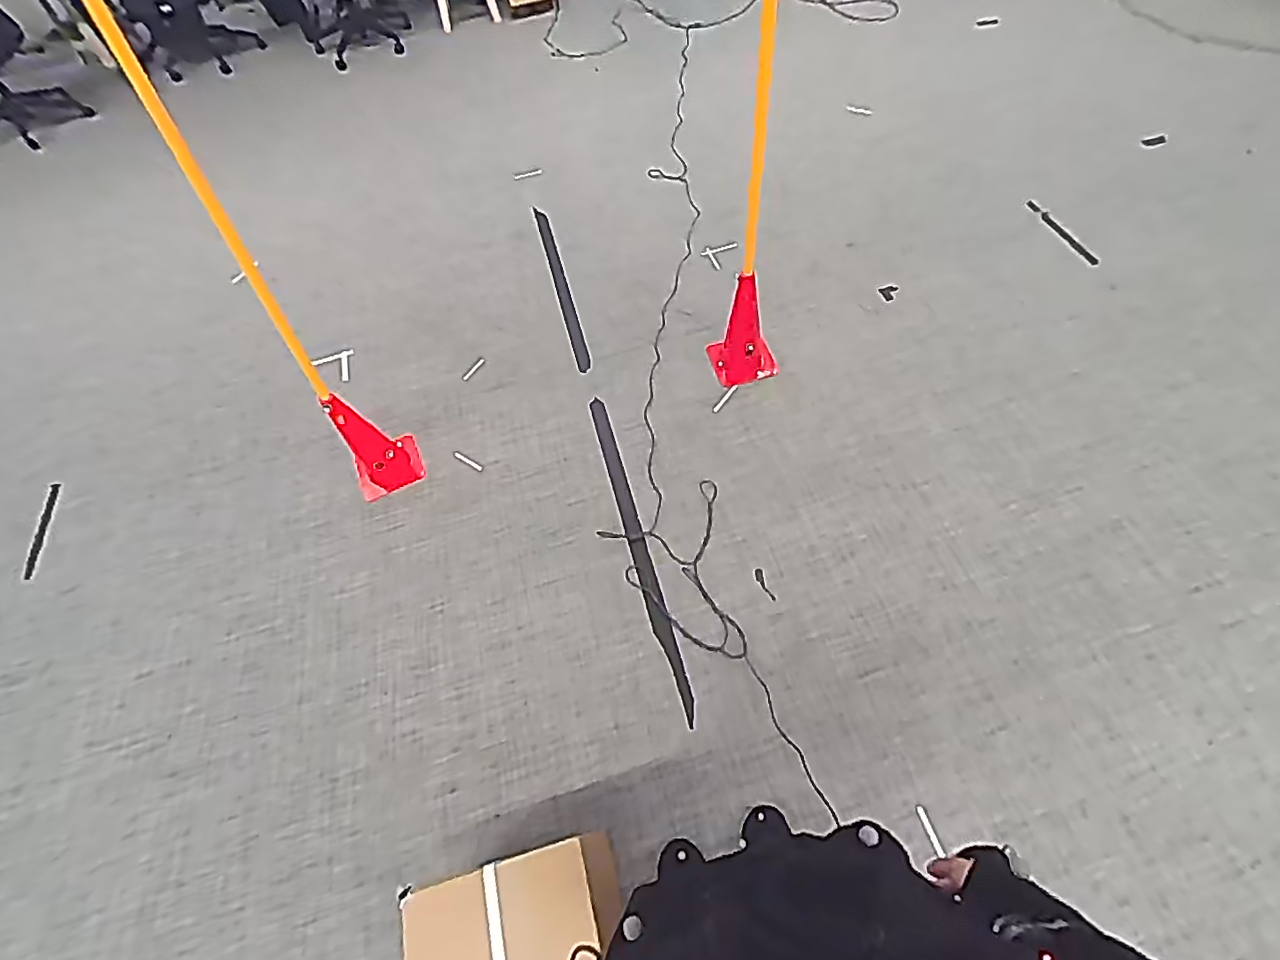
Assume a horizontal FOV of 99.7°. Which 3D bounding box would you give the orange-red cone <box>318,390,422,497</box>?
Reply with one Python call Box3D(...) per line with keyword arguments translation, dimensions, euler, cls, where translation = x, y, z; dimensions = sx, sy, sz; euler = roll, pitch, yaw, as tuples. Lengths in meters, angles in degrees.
Box3D(translation=(-0.825, -0.136, 1.589), dimensions=(0.199, 0.360, 0.198), euler=(-24, 59, -7), cls="orange-red cone")
